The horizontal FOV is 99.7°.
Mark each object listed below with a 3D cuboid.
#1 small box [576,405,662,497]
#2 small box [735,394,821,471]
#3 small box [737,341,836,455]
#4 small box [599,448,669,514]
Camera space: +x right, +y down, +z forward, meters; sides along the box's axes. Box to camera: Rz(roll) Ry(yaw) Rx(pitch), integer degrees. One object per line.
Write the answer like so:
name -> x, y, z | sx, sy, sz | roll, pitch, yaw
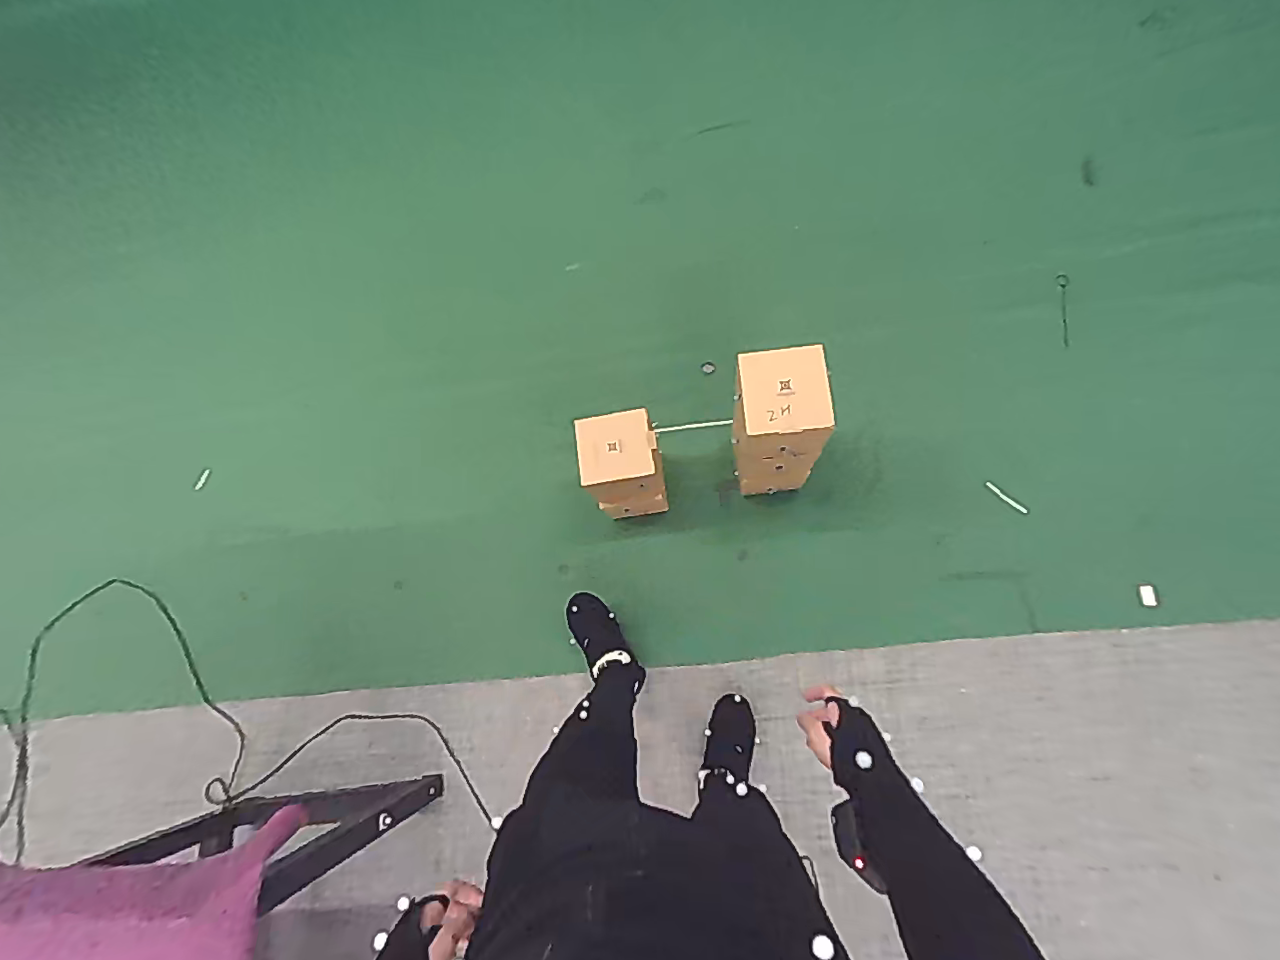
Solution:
small box -> -0.044, -0.064, 1.314 | 0.179, 0.176, 0.168 | -10, 74, 7
small box -> 0.318, -0.123, 1.272 | 0.168, 0.176, 0.179 | -6, 77, 6
small box -> 0.292, -0.163, 1.114 | 0.168, 0.176, 0.179 | -5, 77, 7
small box -> -0.019, -0.009, 1.465 | 0.168, 0.176, 0.179 | -10, 74, 6
